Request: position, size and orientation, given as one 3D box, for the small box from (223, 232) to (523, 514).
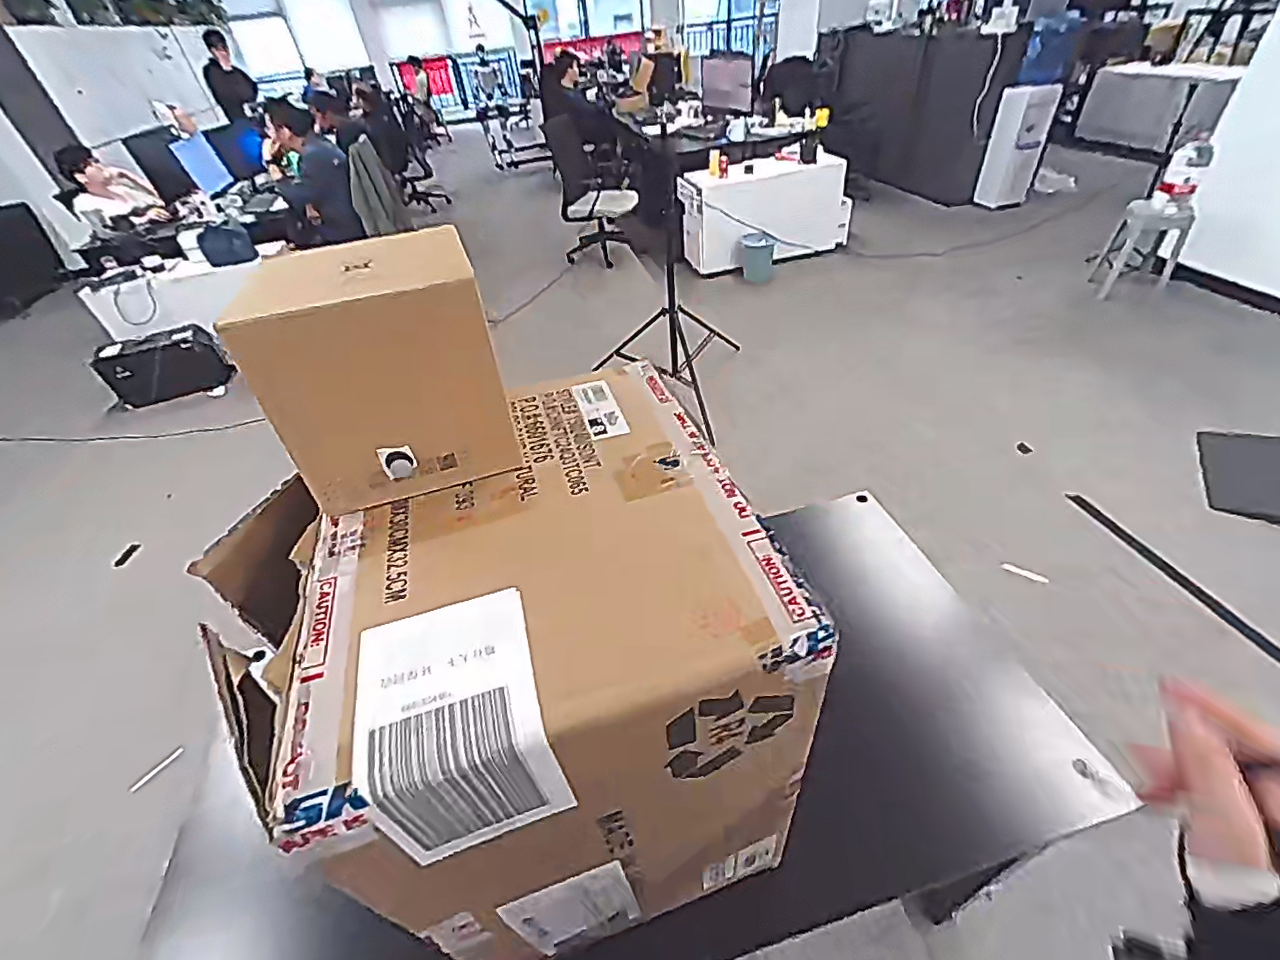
[{"bbox_3d":[-0.213,-0.099,0.475,0.168,0.176,0.179,-17,40,-13],"label":"small box"}]
